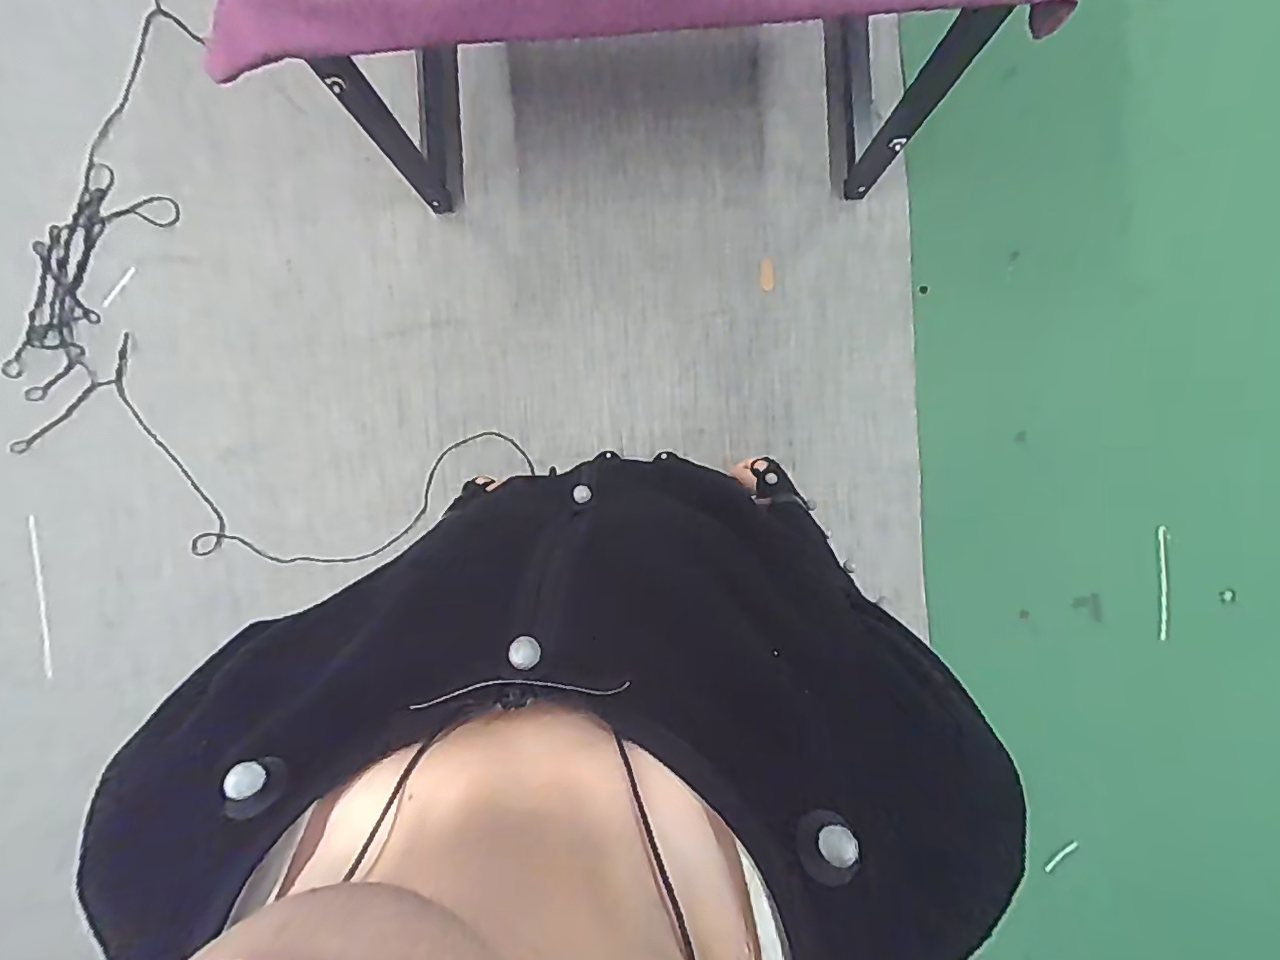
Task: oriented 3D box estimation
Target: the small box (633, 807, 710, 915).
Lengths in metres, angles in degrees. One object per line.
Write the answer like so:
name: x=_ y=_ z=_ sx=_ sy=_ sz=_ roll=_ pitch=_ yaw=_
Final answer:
small box: x=0.082 y=0.990 z=1.420 sx=0.179 sy=0.176 sz=0.168 roll=-9 pitch=90 yaw=5
